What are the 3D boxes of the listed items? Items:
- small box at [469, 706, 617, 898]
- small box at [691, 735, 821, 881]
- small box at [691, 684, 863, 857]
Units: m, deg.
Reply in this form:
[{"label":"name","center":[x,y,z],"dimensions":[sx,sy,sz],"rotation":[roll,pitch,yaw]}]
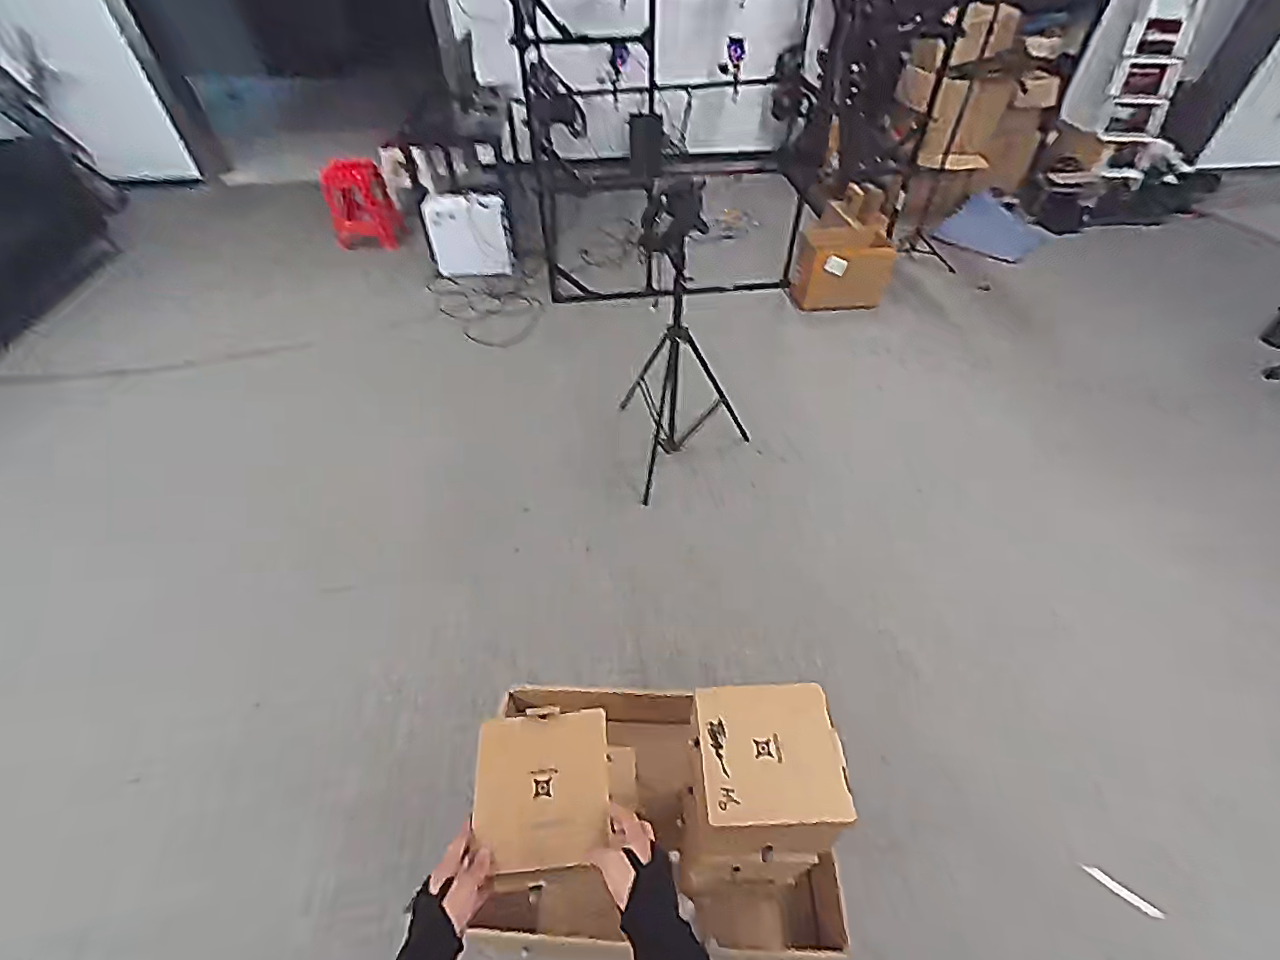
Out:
[{"label":"small box","center":[-0.120,0.422,0.711],"dimensions":[0.168,0.176,0.179],"rotation":[-2,47,-7]},{"label":"small box","center":[0.167,0.505,0.839],"dimensions":[0.168,0.176,0.179],"rotation":[0,45,1]},{"label":"small box","center":[0.167,0.388,0.723],"dimensions":[0.179,0.176,0.168],"rotation":[-1,45,0]}]
